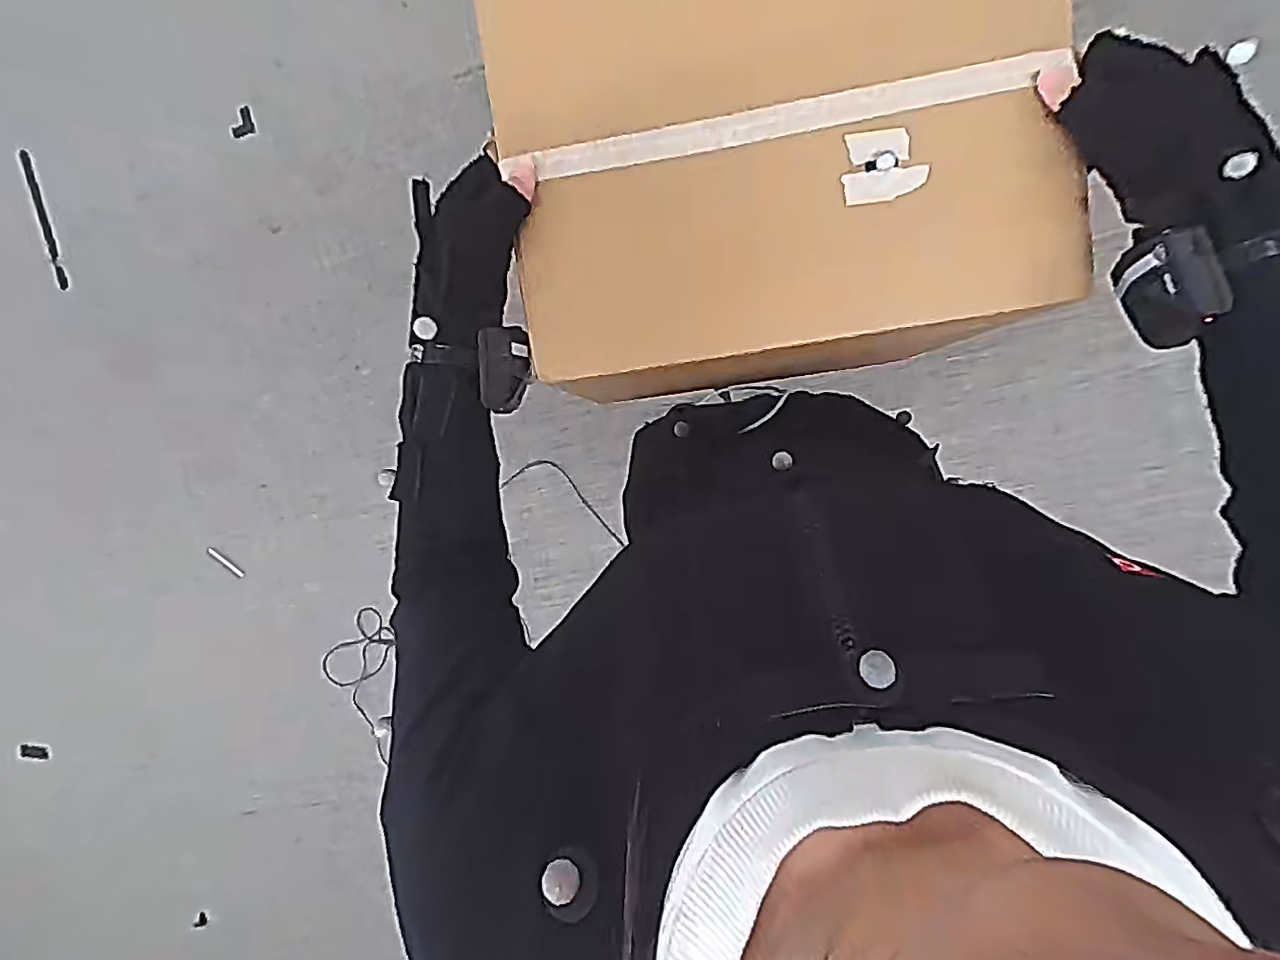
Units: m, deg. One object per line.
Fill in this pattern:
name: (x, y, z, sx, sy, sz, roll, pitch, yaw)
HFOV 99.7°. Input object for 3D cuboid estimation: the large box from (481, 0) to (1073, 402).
large box: (0.103, -0.272, 0.544, 0.408, 0.320, 0.320, -9, 95, 3)
